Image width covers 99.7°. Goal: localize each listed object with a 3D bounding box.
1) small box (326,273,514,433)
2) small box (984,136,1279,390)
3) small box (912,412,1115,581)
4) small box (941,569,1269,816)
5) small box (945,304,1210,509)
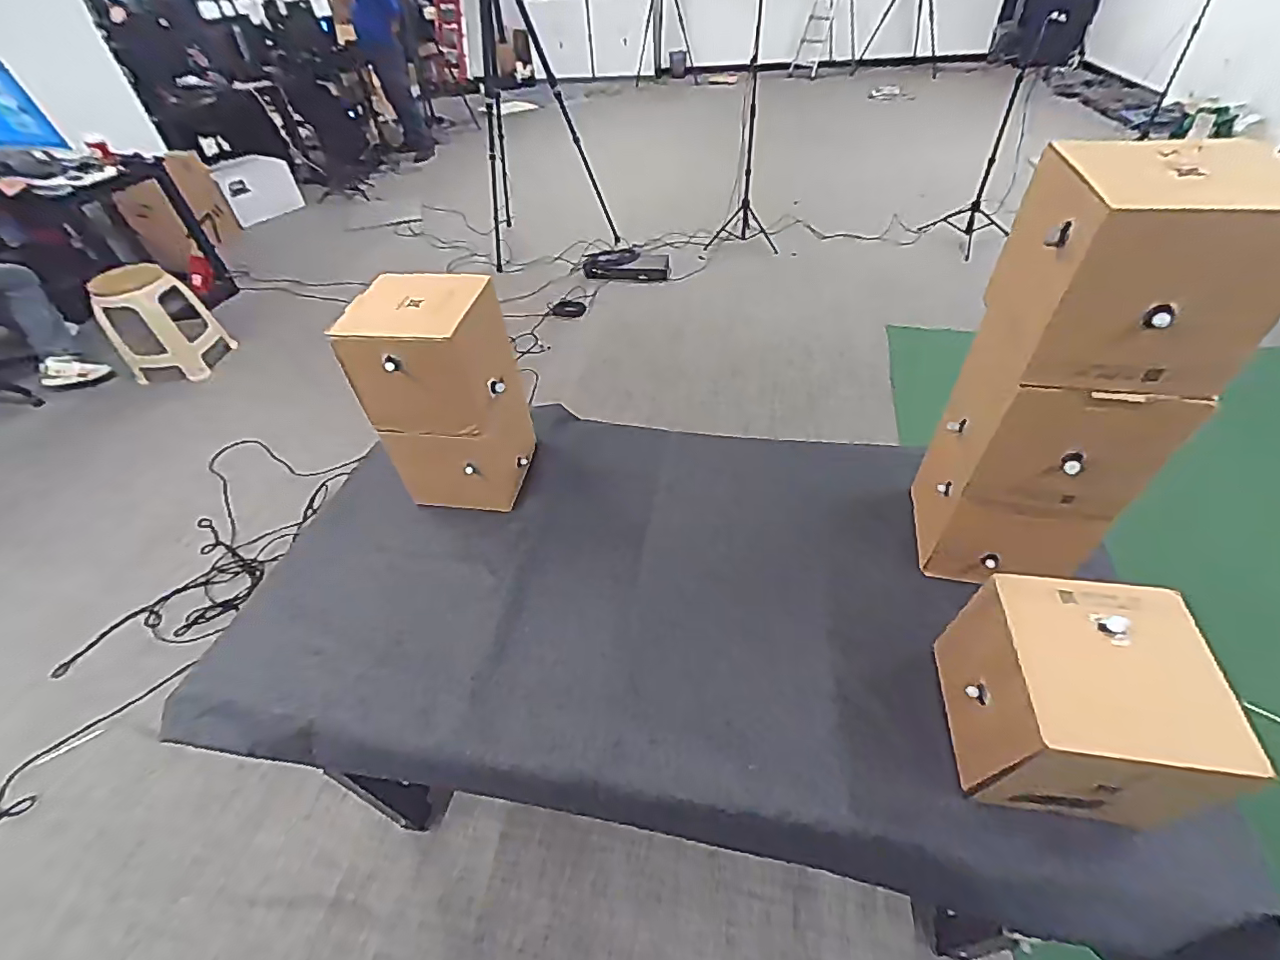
[{"bbox_3d":[-0.303,-0.184,0.789,0.179,0.176,0.168,4,48,7],"label":"small box"},{"bbox_3d":[0.459,-0.203,0.511,0.168,0.176,0.179,7,47,11],"label":"small box"},{"bbox_3d":[0.492,0.023,0.748,0.168,0.176,0.179,7,47,12],"label":"small box"},{"bbox_3d":[0.424,0.212,0.541,0.168,0.179,0.176,4,49,8],"label":"small box"},{"bbox_3d":[0.477,-0.088,0.628,0.168,0.176,0.179,8,48,13],"label":"small box"}]
